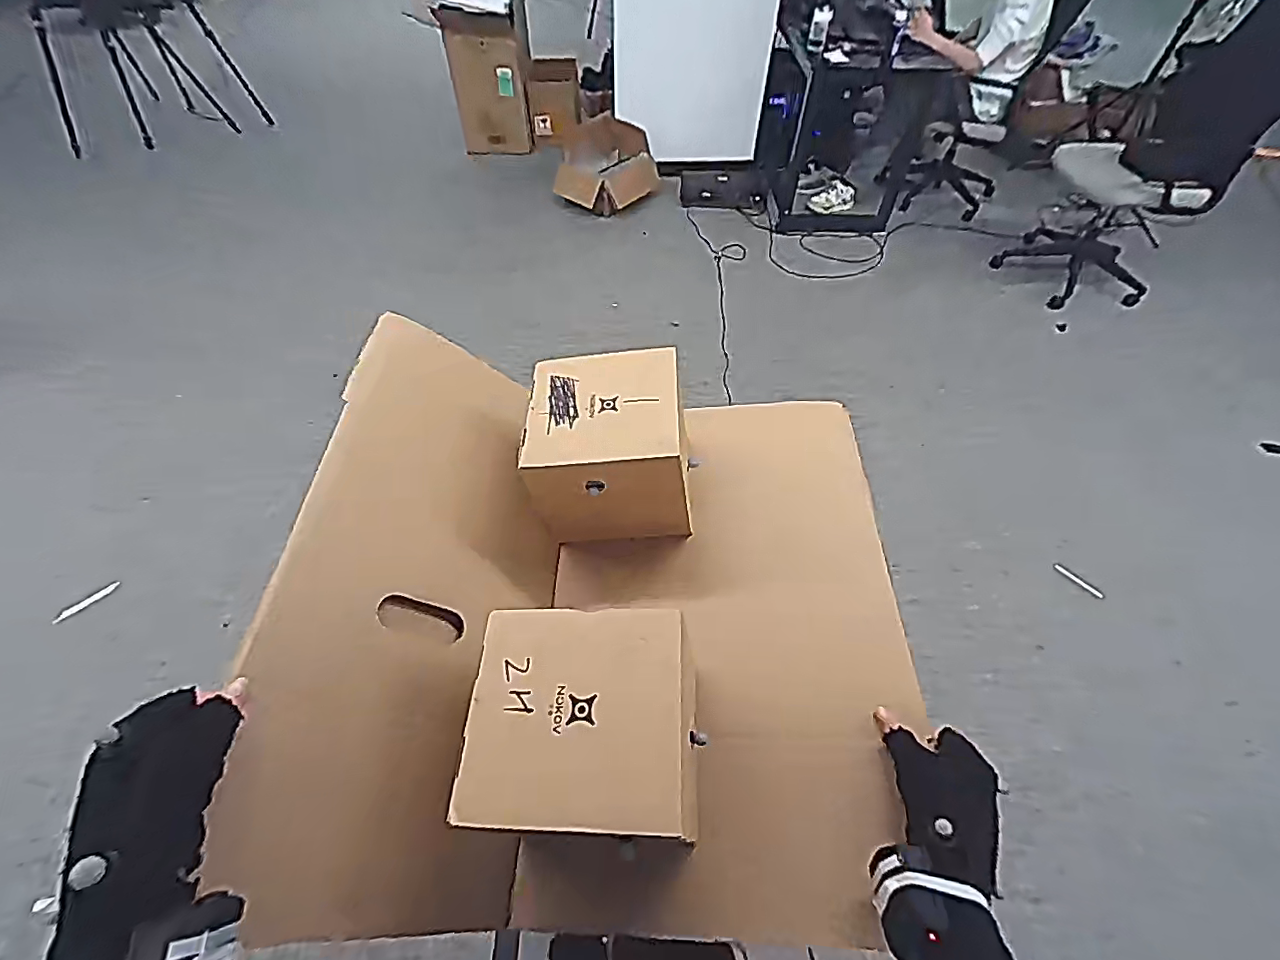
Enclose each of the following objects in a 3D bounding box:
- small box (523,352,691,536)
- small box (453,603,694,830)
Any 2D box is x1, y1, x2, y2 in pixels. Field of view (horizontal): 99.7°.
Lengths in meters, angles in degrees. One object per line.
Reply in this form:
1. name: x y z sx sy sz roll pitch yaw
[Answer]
1. small box: -0.030 -0.038 0.691 0.179 0.176 0.168 -4 55 7
2. small box: -0.041 0.225 0.508 0.179 0.176 0.168 -2 55 10
